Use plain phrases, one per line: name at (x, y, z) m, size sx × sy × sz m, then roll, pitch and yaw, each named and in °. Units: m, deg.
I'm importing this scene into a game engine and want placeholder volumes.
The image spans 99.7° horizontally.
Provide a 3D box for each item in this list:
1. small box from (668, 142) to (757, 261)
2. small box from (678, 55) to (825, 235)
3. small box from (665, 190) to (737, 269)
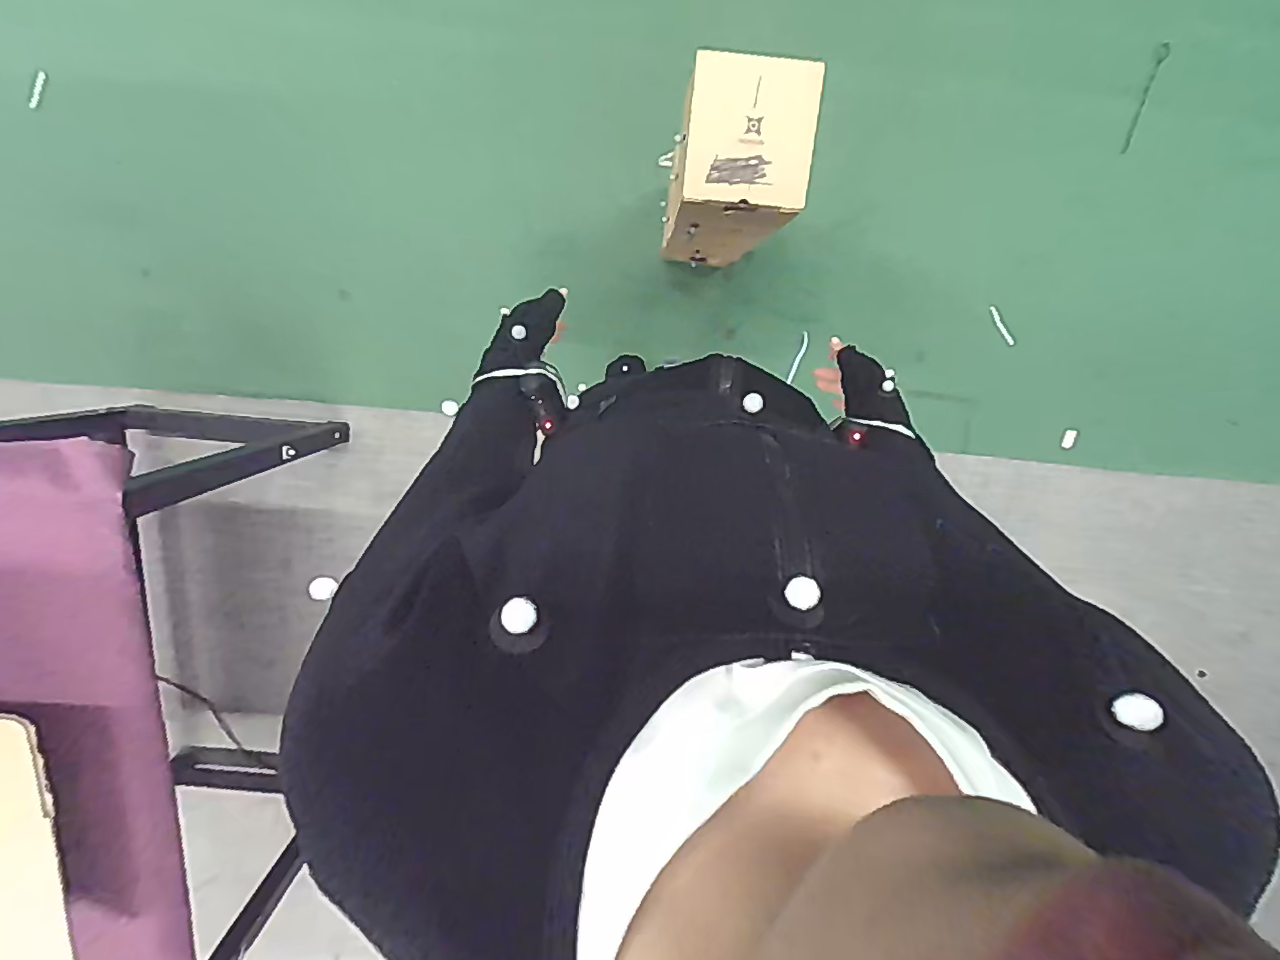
small box at (0.149, -0.556, 1.099) m, size 0.168 × 0.176 × 0.179 m, roll 4°, pitch 105°, yaw -1°
small box at (0.147, -0.466, 0.782) m, size 0.168 × 0.176 × 0.179 m, roll 5°, pitch 103°, yaw -2°
small box at (0.150, -0.603, 1.255) m, size 0.168 × 0.176 × 0.179 m, roll 7°, pitch 104°, yaw -1°
